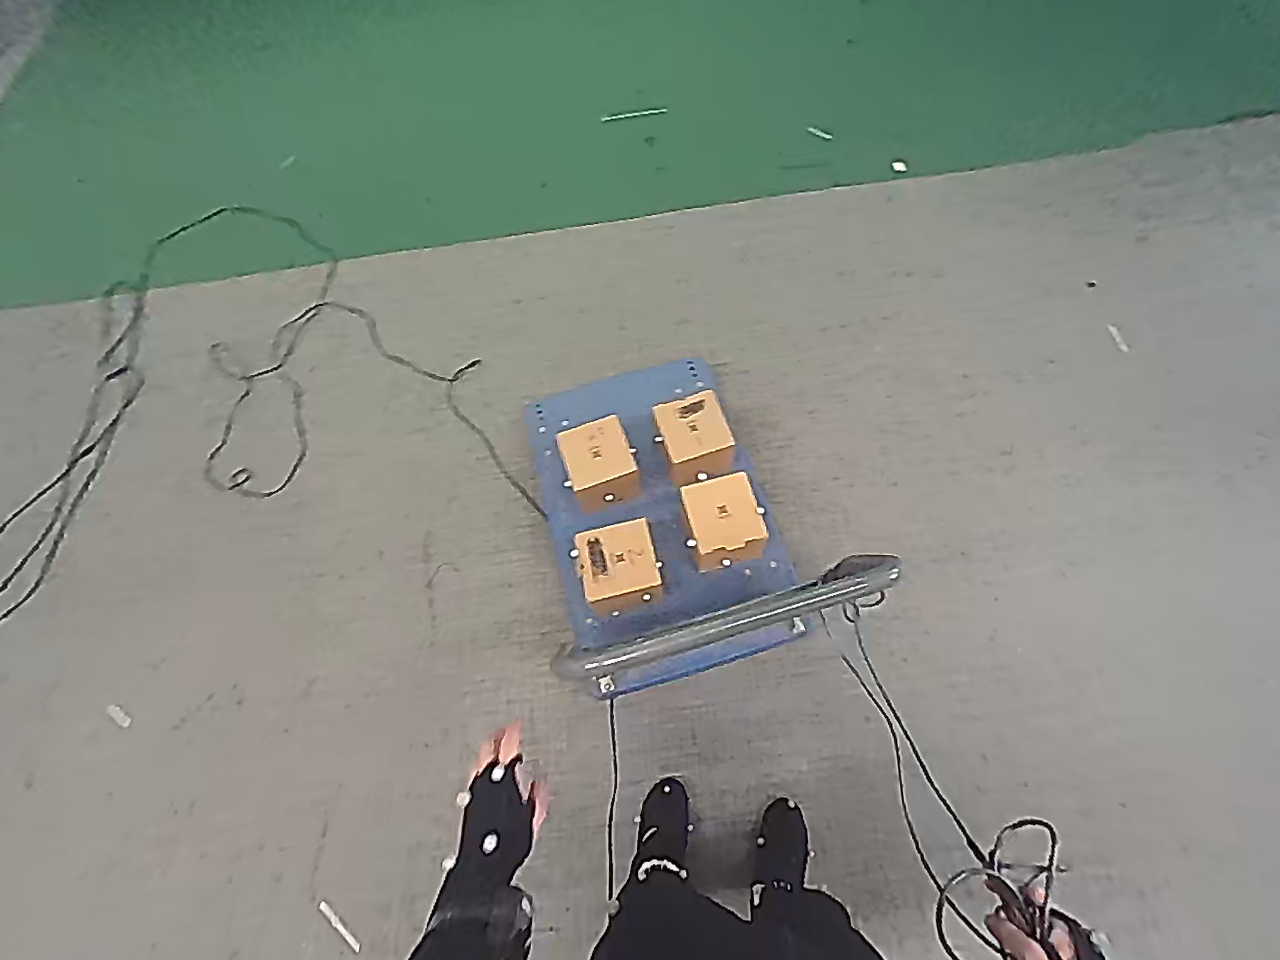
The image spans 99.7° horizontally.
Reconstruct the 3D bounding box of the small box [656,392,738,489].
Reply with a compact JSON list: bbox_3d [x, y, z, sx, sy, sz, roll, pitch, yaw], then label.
[{"bbox_3d":[0.147,-0.101,1.443,0.168,0.176,0.179,-18,67,-2],"label":"small box"}]

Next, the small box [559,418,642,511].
[{"bbox_3d":[-0.099,-0.032,1.434,0.168,0.176,0.179,-19,66,-4],"label":"small box"}]

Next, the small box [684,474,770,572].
[{"bbox_3d":[0.207,0.111,1.345,0.168,0.176,0.179,-14,66,-2],"label":"small box"}]
